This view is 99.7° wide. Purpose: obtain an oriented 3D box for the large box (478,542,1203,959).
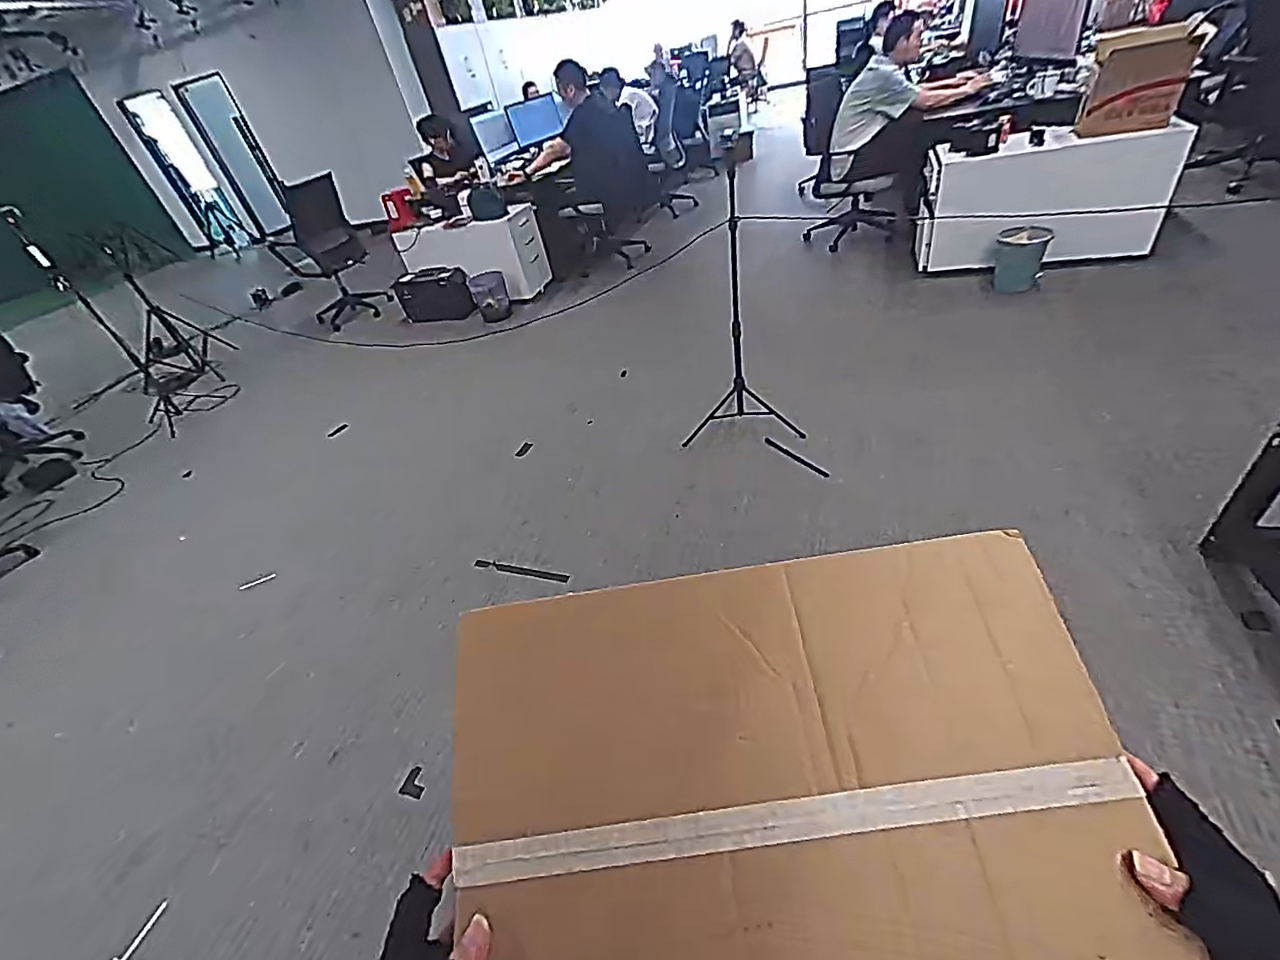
[{"bbox_3d":[0.108,0.278,0.466,0.408,0.320,0.320,-9,65,2],"label":"large box"}]
